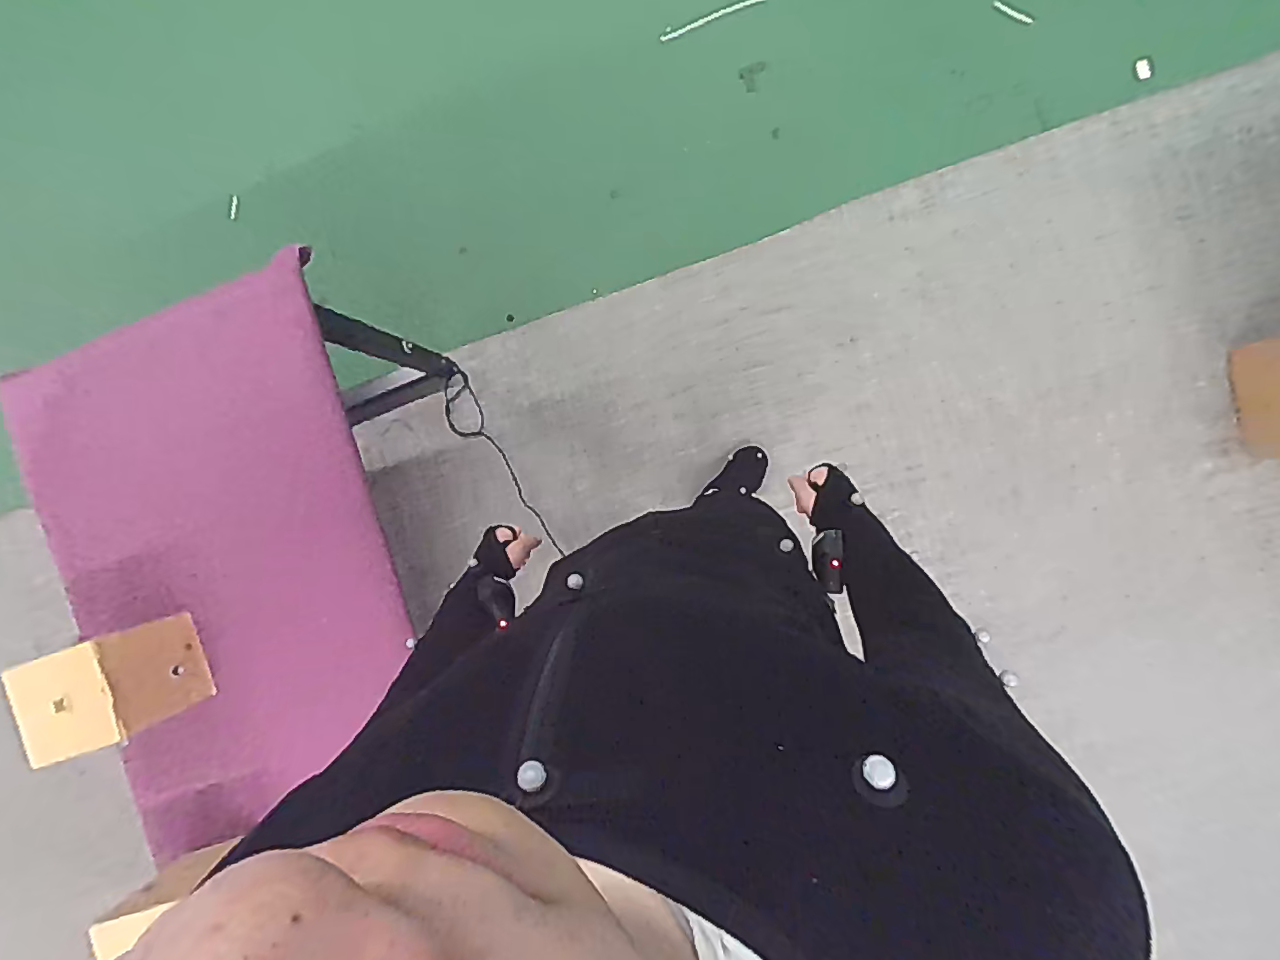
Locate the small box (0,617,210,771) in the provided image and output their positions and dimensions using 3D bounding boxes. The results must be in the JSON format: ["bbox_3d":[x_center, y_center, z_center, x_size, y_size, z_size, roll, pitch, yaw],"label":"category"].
[{"bbox_3d":[-0.895,0.352,0.918,0.179,0.176,0.168,-20,90,5],"label":"small box"}]
